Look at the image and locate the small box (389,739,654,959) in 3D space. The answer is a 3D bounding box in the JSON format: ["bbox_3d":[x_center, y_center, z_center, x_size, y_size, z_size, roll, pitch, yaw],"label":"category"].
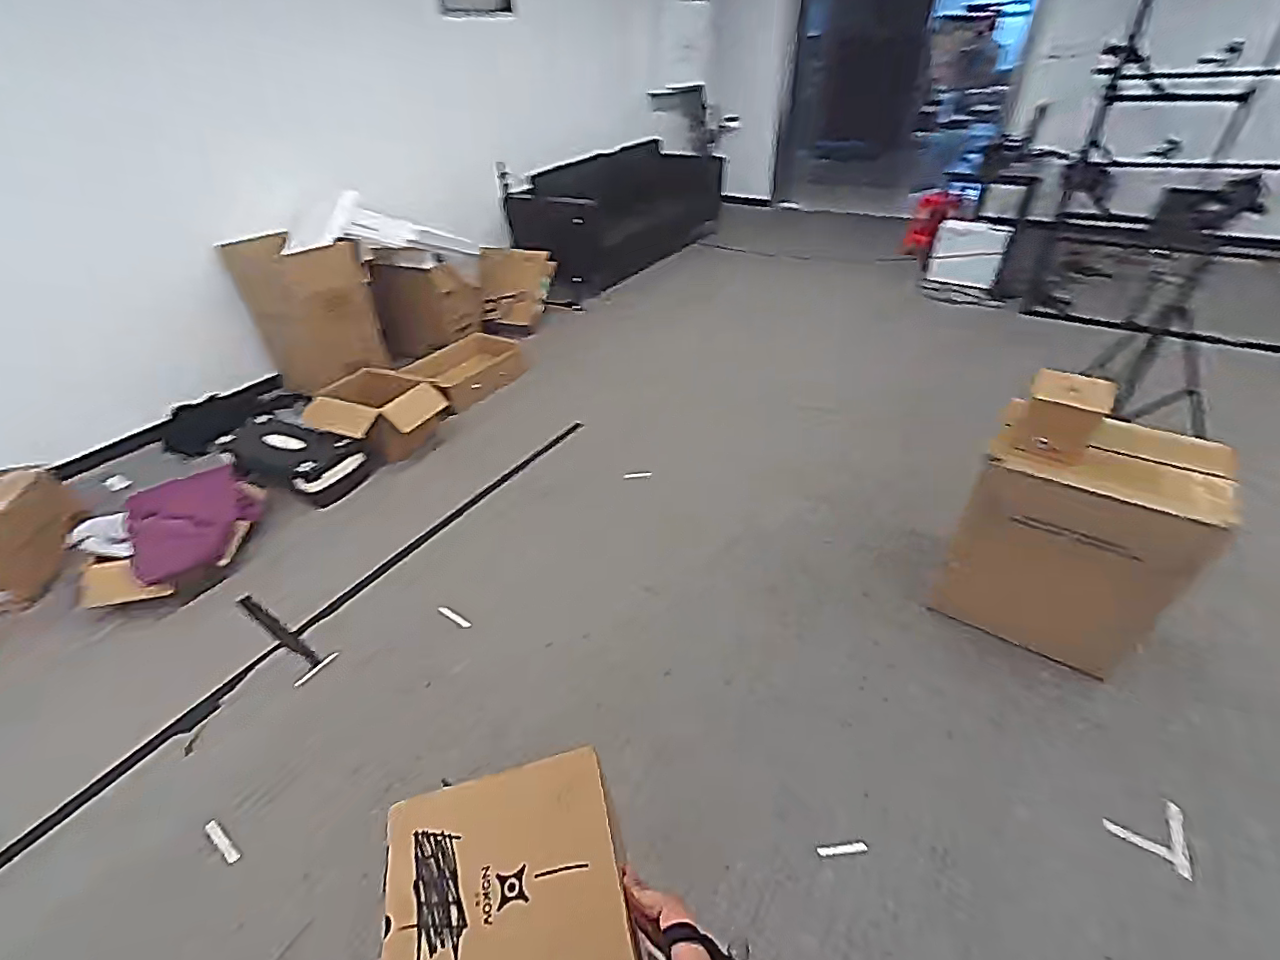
[{"bbox_3d":[-0.091,0.356,0.461,0.179,0.176,0.168,-12,44,-7],"label":"small box"}]

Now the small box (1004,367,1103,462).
[{"bbox_3d":[1.123,-0.180,1.474,0.168,0.176,0.179,21,48,29],"label":"small box"}]
